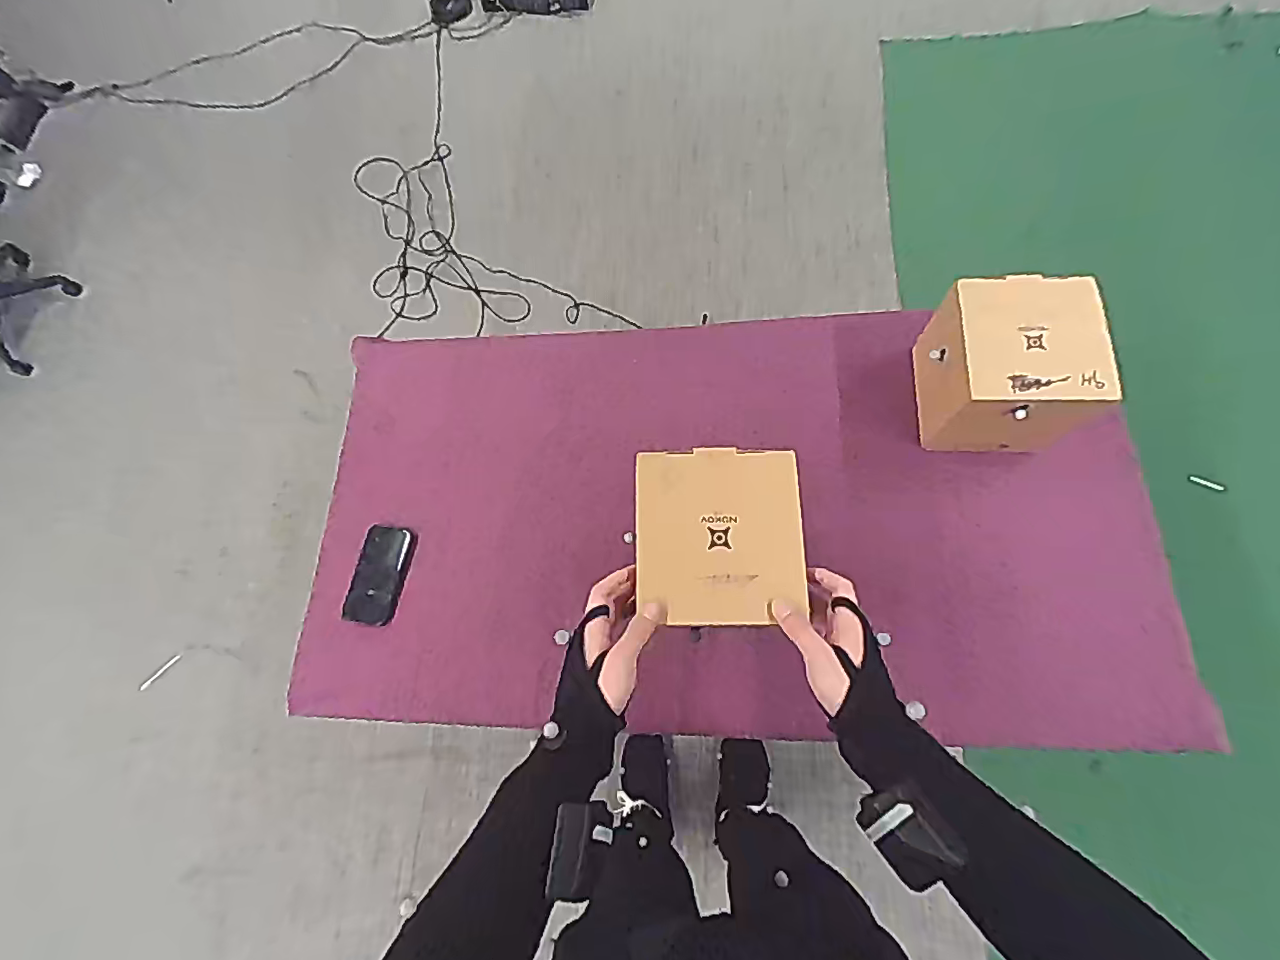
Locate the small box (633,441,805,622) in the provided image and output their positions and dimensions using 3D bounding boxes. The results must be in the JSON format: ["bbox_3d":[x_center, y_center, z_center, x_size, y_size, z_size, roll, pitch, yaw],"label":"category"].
[{"bbox_3d":[0.077,0.066,0.609,0.168,0.176,0.179,0,74,2],"label":"small box"}]

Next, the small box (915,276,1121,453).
[{"bbox_3d":[0.492,-0.151,0.737,0.168,0.176,0.179,2,71,9],"label":"small box"}]
